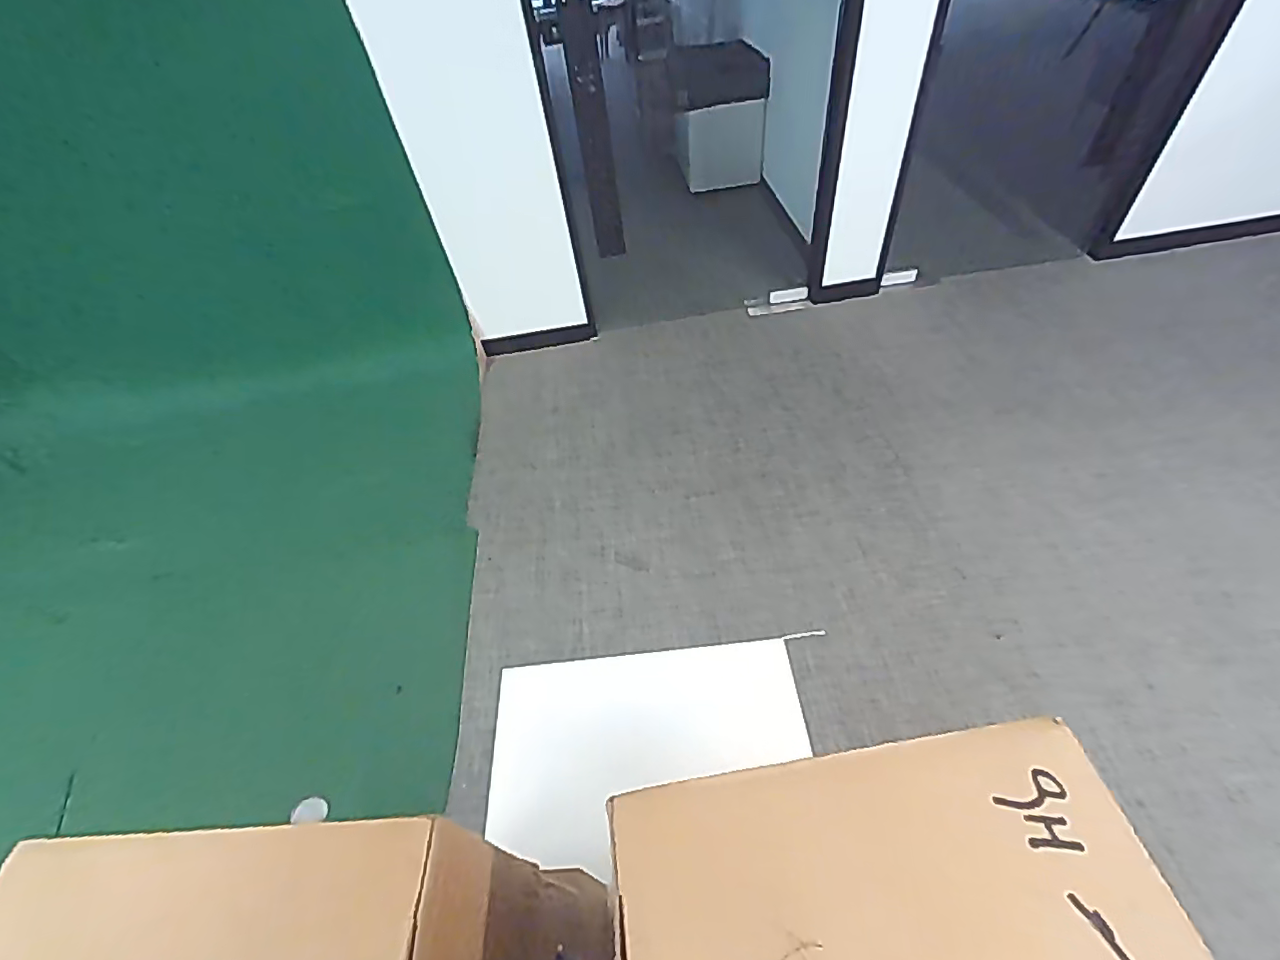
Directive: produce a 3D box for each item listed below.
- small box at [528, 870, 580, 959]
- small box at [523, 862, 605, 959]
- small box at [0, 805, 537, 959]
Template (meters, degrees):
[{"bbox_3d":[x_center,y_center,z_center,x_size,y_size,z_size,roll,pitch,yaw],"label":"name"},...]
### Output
[{"bbox_3d":[-0.135,0.360,0.342,0.179,0.176,0.168,-7,48,2],"label":"small box"},{"bbox_3d":[-0.121,0.453,0.474,0.168,0.176,0.179,-5,49,1],"label":"small box"},{"bbox_3d":[-0.154,0.249,0.223,0.179,0.176,0.168,-5,48,2],"label":"small box"}]
